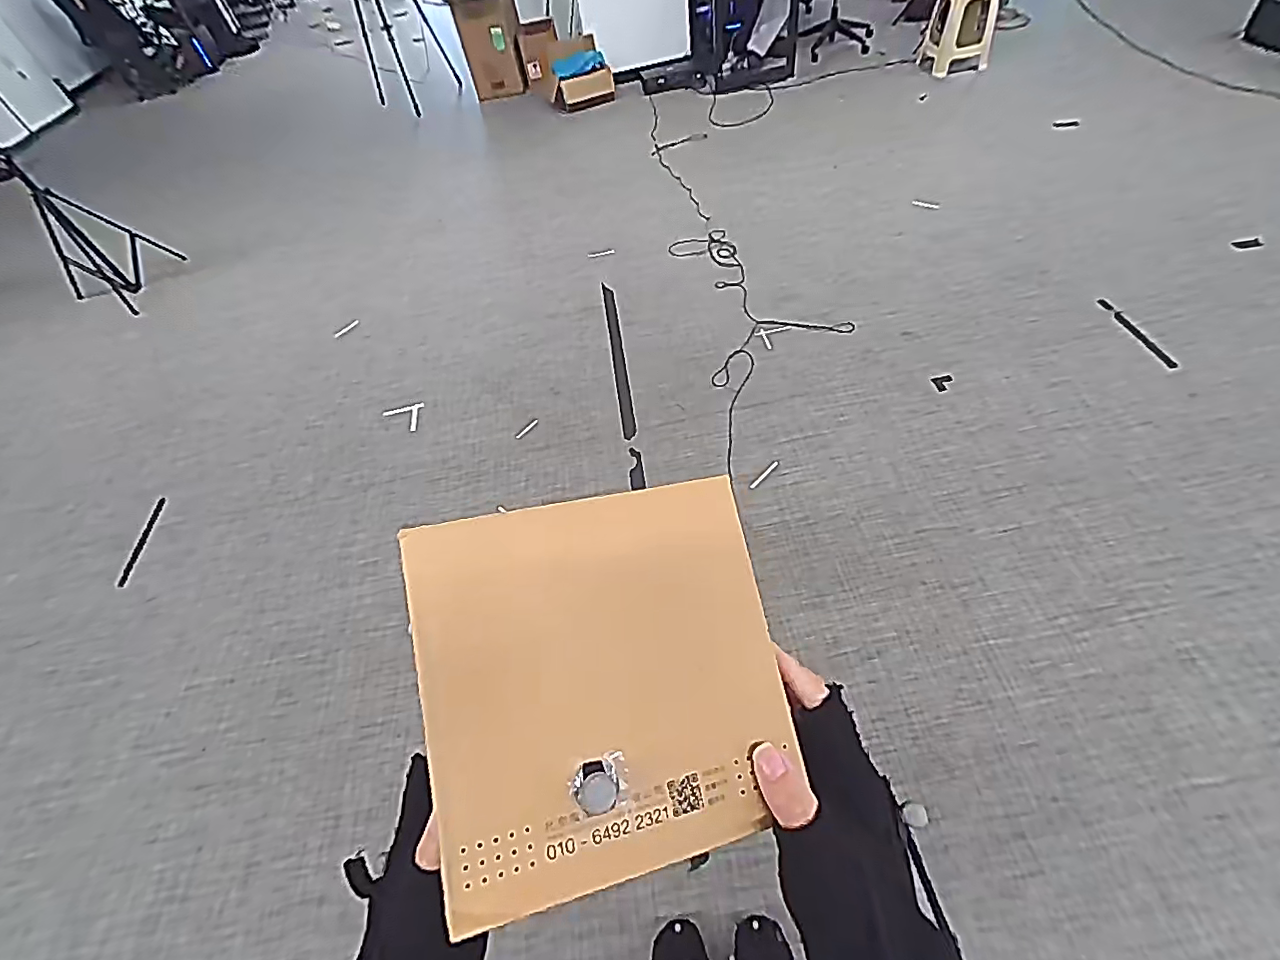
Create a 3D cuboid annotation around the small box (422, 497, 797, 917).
[{"bbox_3d":[-0.029,0.122,0.341,0.168,0.179,0.176,-10,77,-15],"label":"small box"}]
